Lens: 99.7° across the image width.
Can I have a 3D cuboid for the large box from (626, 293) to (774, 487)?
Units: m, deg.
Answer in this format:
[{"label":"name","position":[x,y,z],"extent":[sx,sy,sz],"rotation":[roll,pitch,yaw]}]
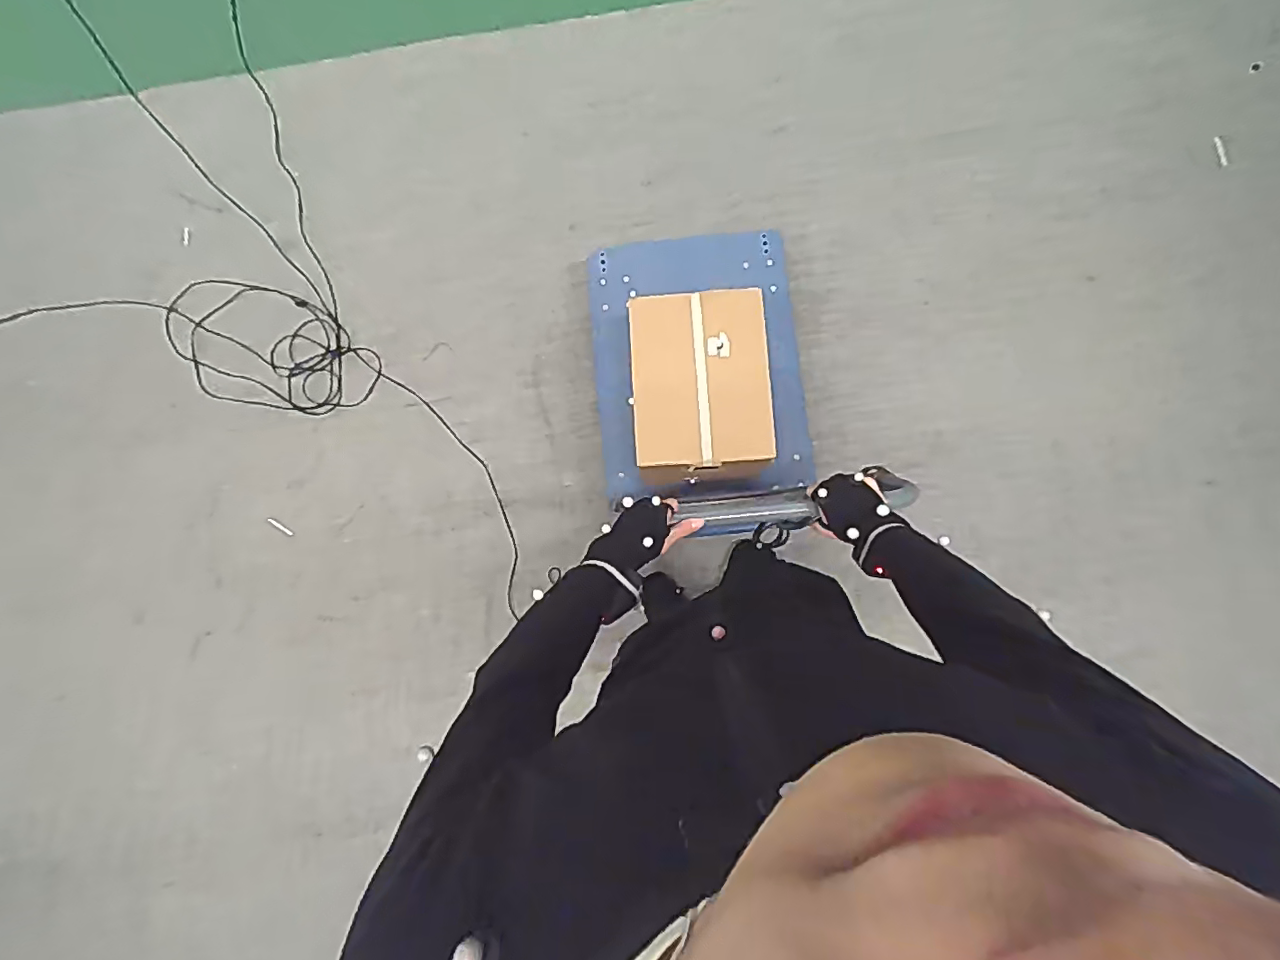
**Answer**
[{"label":"large box","position":[0.140,-0.208,1.380],"extent":[0.320,0.320,0.408],"rotation":[-3,81,2]}]
